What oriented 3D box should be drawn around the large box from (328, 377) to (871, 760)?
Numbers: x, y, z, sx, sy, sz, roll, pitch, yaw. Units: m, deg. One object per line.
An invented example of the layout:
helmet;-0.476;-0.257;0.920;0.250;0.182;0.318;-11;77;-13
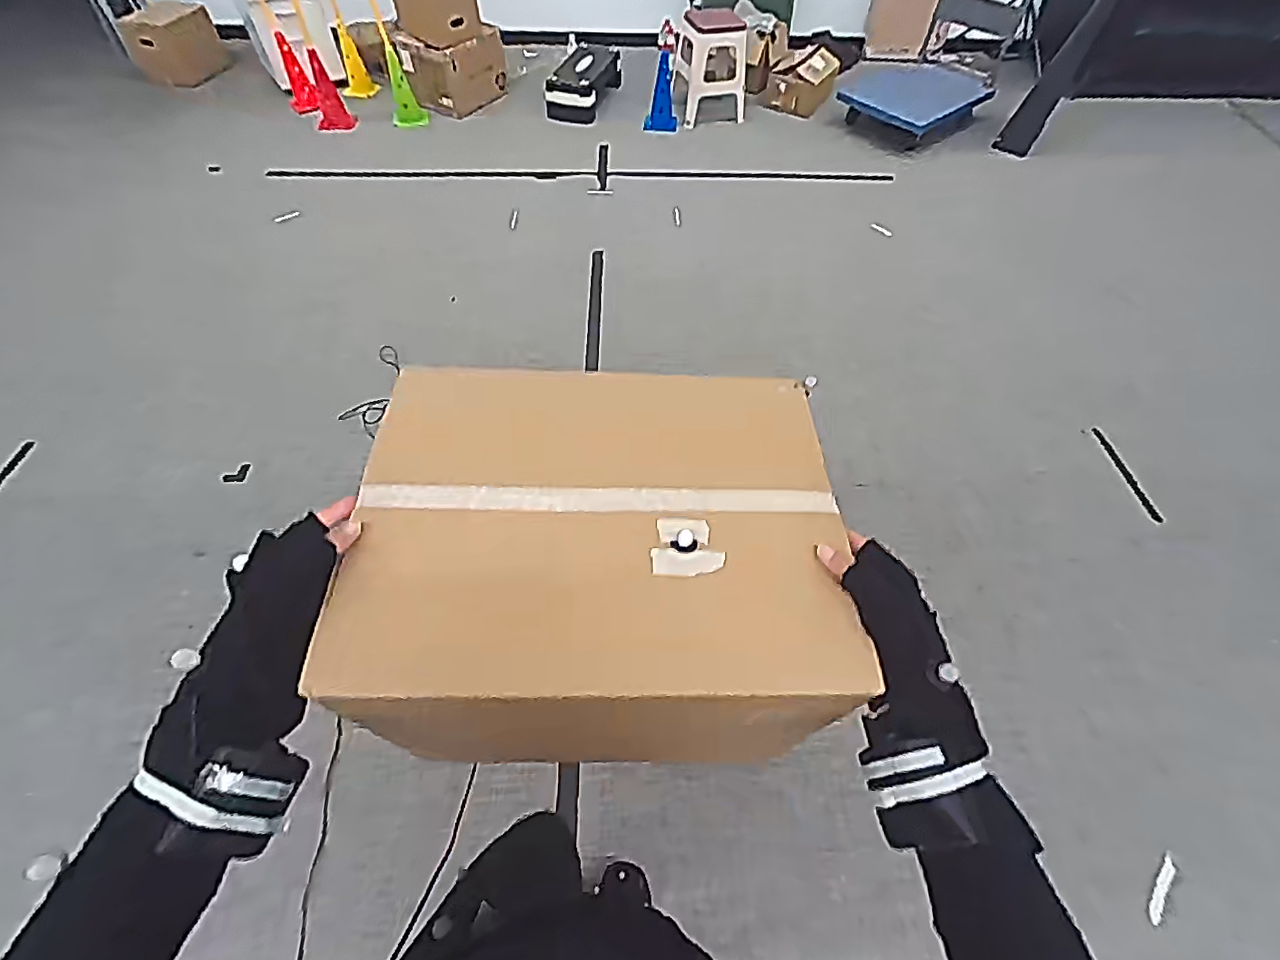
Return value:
large box;-0.037;0.108;0.596;0.408;0.320;0.320;1;55;-4
